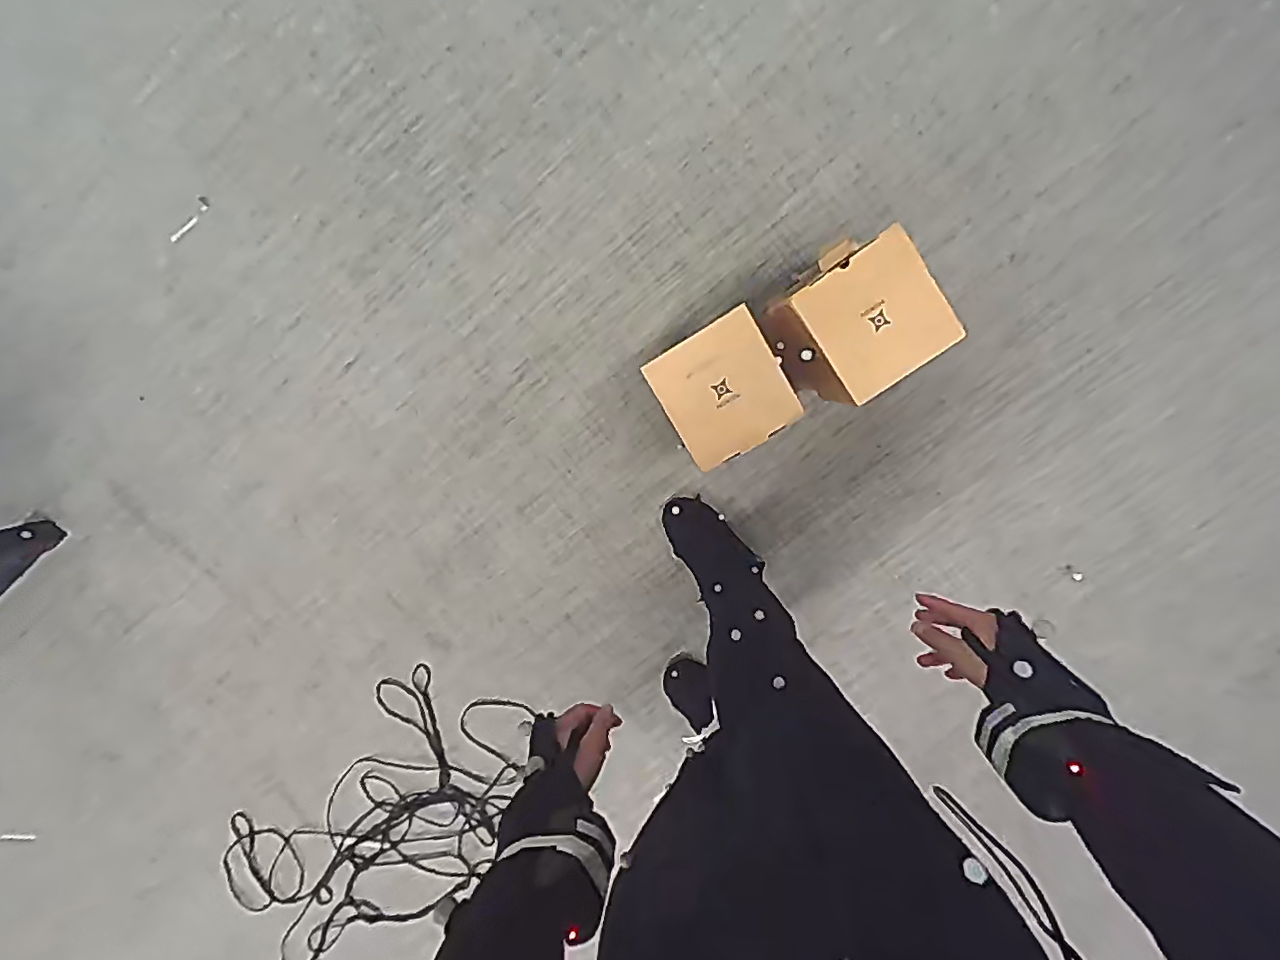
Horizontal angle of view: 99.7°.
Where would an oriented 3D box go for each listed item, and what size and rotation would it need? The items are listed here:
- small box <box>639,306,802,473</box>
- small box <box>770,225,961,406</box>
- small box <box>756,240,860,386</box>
[{"bbox_3d":[0.115,-0.135,0.816,0.168,0.176,0.179,-31,96,7],"label":"small box"},{"bbox_3d":[0.313,-0.229,0.788,0.168,0.176,0.179,-35,97,8],"label":"small box"},{"bbox_3d":[0.322,-0.277,0.944,0.168,0.176,0.179,-34,96,8],"label":"small box"}]
